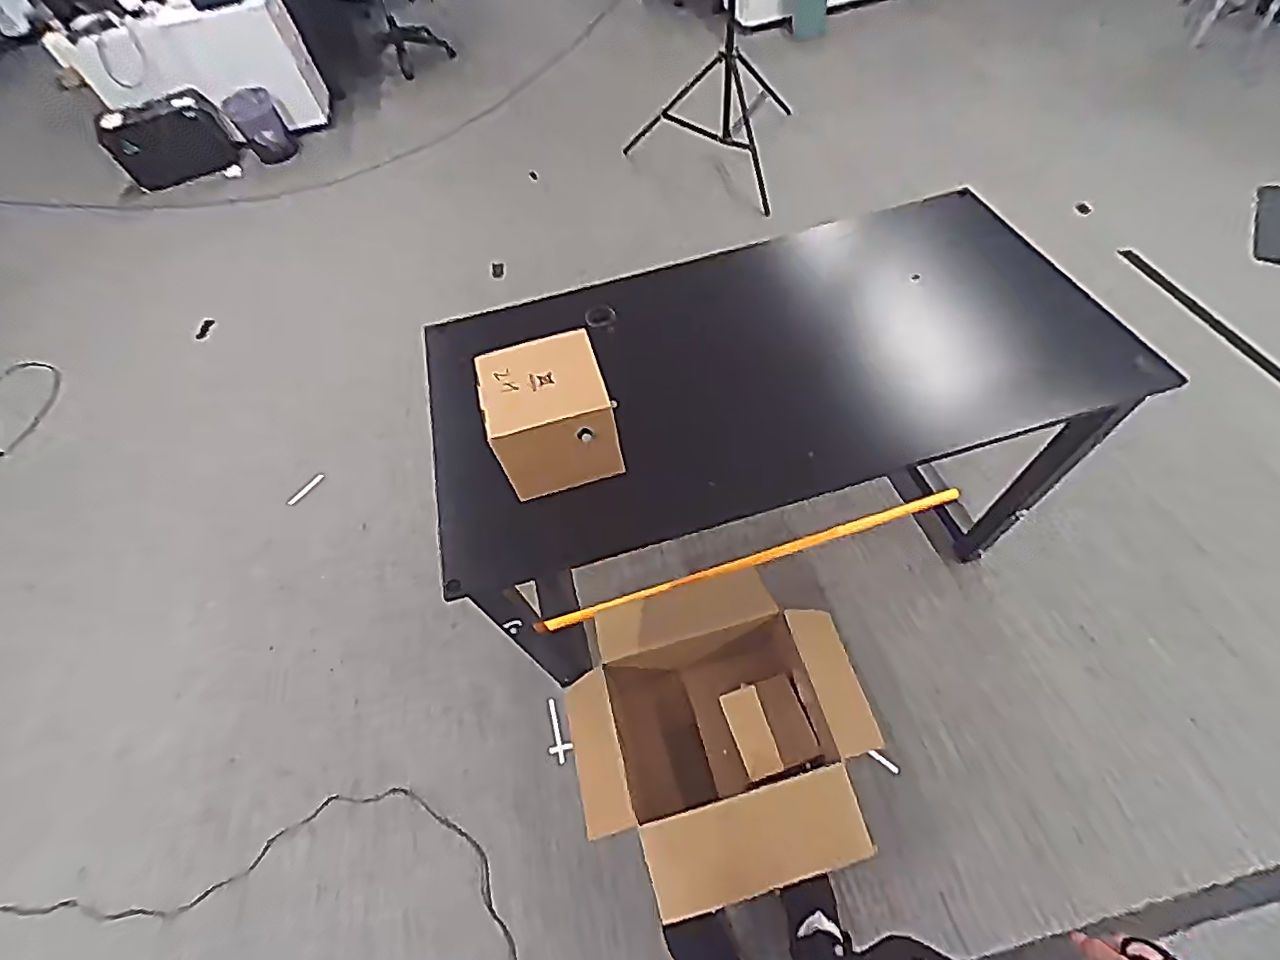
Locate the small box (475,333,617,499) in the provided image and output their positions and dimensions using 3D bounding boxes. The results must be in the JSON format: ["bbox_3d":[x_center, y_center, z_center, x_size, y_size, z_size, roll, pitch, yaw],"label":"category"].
[{"bbox_3d":[-0.139,-0.095,0.845,0.179,0.176,0.168,-16,57,-4],"label":"small box"}]
